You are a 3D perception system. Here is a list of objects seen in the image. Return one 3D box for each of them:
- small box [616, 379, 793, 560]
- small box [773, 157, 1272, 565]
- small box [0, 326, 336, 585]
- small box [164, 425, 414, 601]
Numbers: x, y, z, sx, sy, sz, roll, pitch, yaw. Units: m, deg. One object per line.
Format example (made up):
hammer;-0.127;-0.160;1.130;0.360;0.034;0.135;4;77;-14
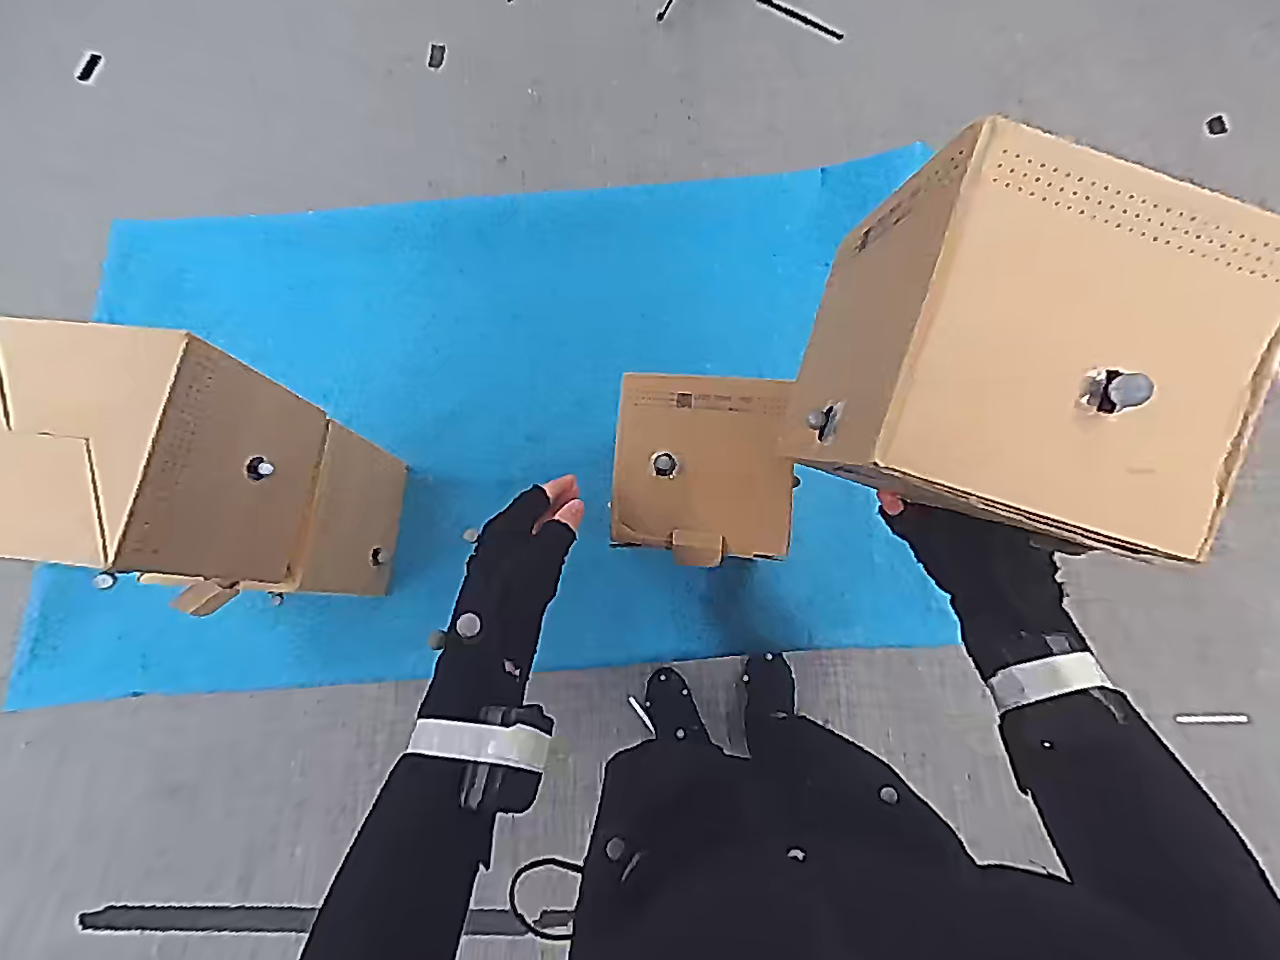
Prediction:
small box;0.067;-0.005;0.590;0.168;0.179;0.176;5;83;4
small box;0.210;-0.065;0.339;0.179;0.168;0.176;16;93;-3
small box;-0.405;-0.009;0.464;0.168;0.176;0.179;5;77;5
small box;-0.387;0.043;0.619;0.168;0.176;0.179;2;76;4
